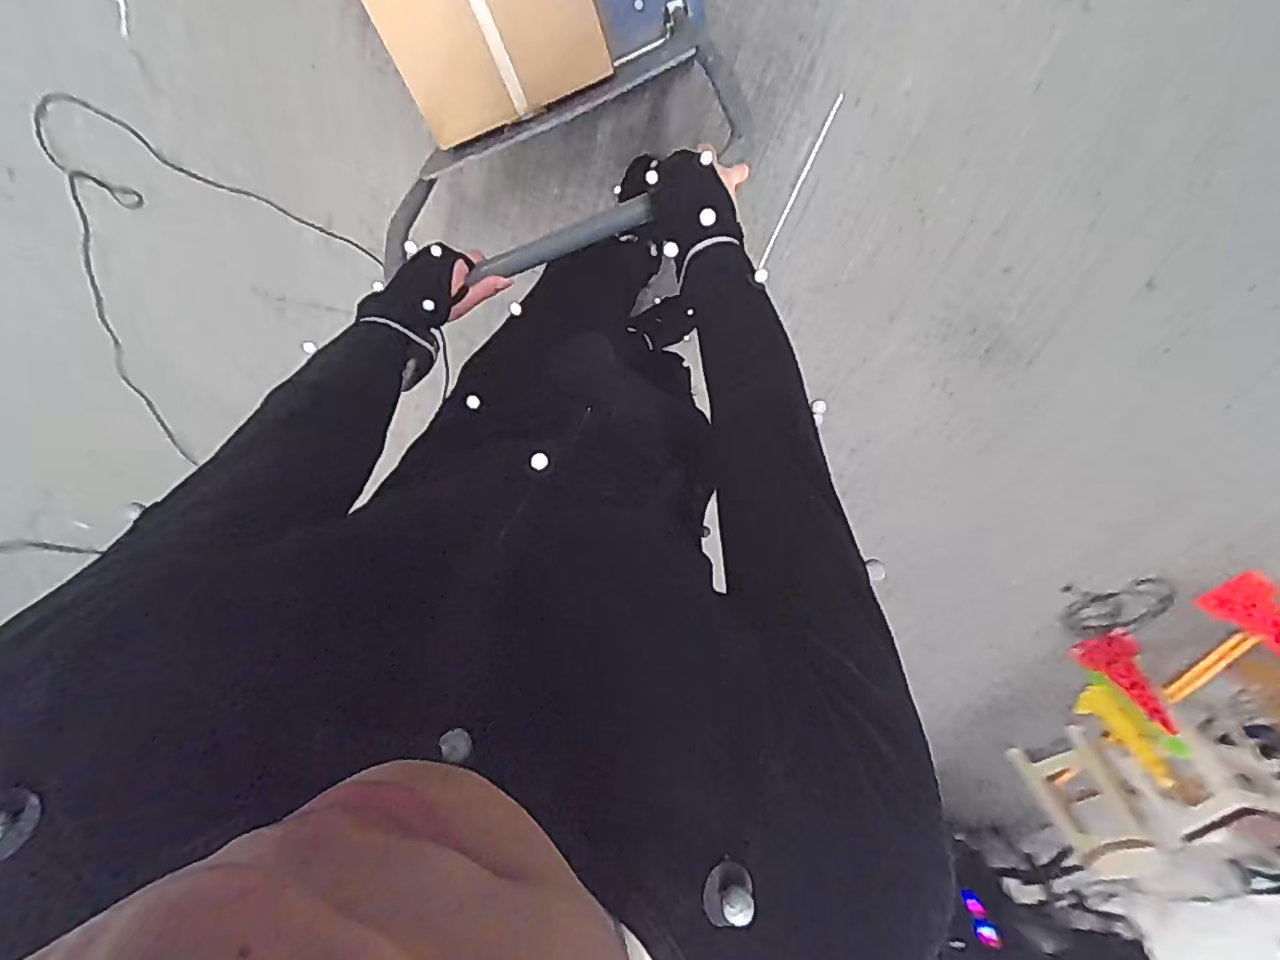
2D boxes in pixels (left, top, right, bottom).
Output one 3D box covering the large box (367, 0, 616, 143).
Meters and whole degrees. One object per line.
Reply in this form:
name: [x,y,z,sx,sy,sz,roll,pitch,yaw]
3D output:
large box: [-0.251,-0.832,0.845,0.320,0.320,0.408,-16,132,12]
